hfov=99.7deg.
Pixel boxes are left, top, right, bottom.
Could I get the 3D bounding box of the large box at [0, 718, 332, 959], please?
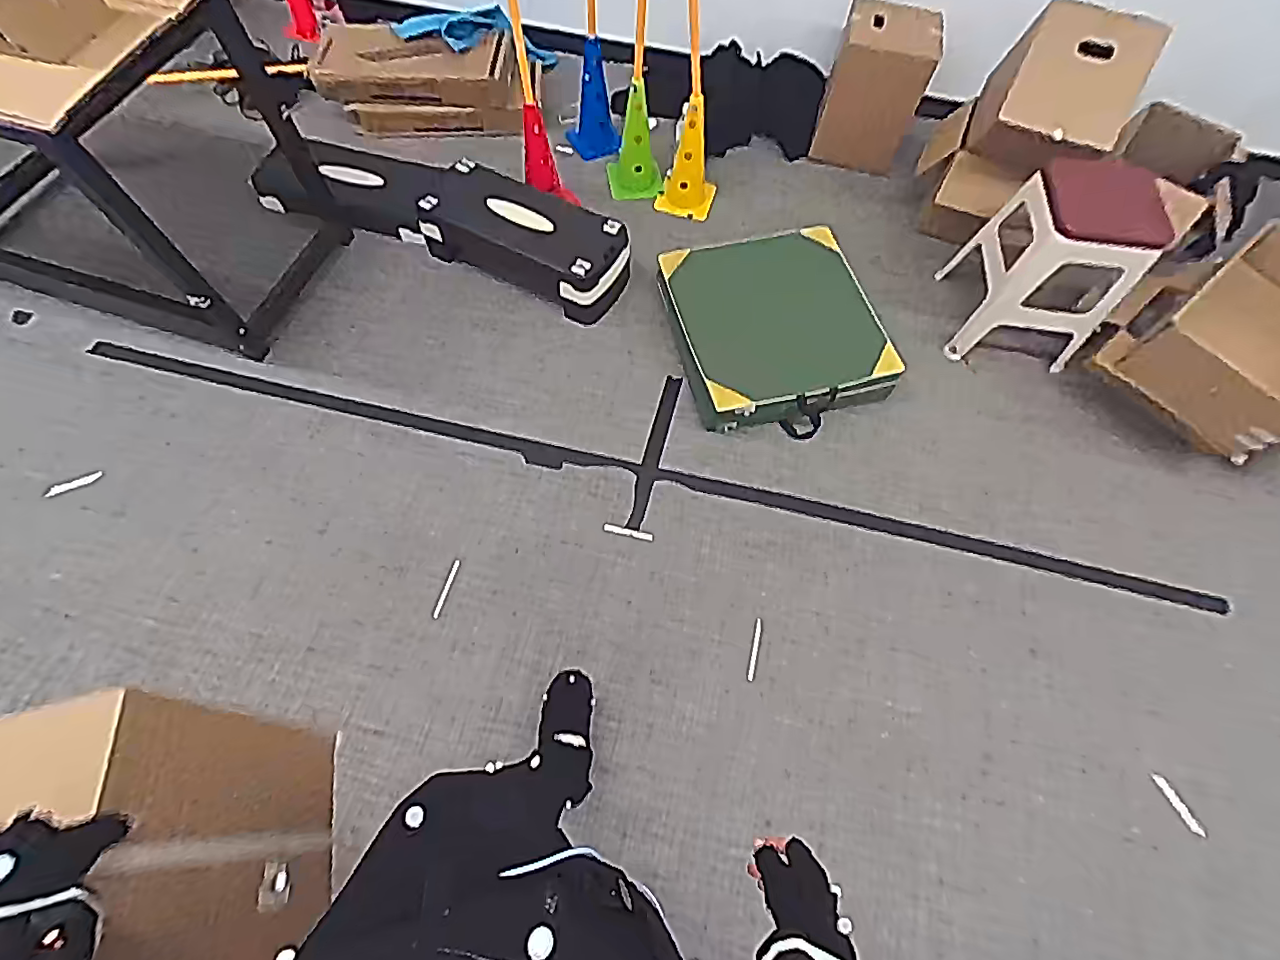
[{"bbox_3d":[-0.633,0.519,0.640,0.320,0.408,0.320,-15,56,-5],"label":"large box"}]
